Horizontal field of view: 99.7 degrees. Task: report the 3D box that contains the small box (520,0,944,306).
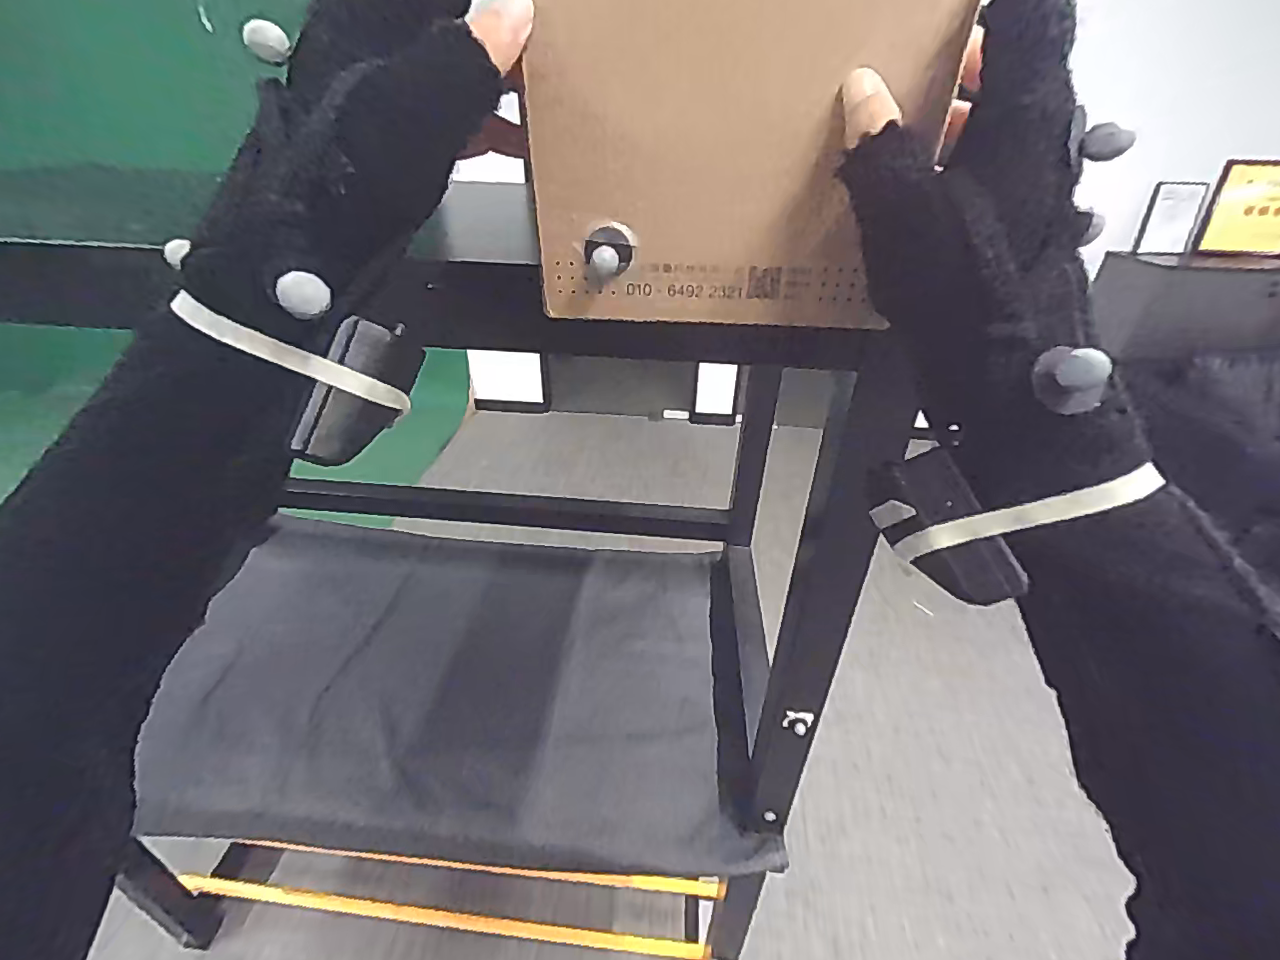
[{"bbox_3d":[0.042,-0.199,0.286,0.168,0.176,0.179,3,35,4],"label":"small box"}]
